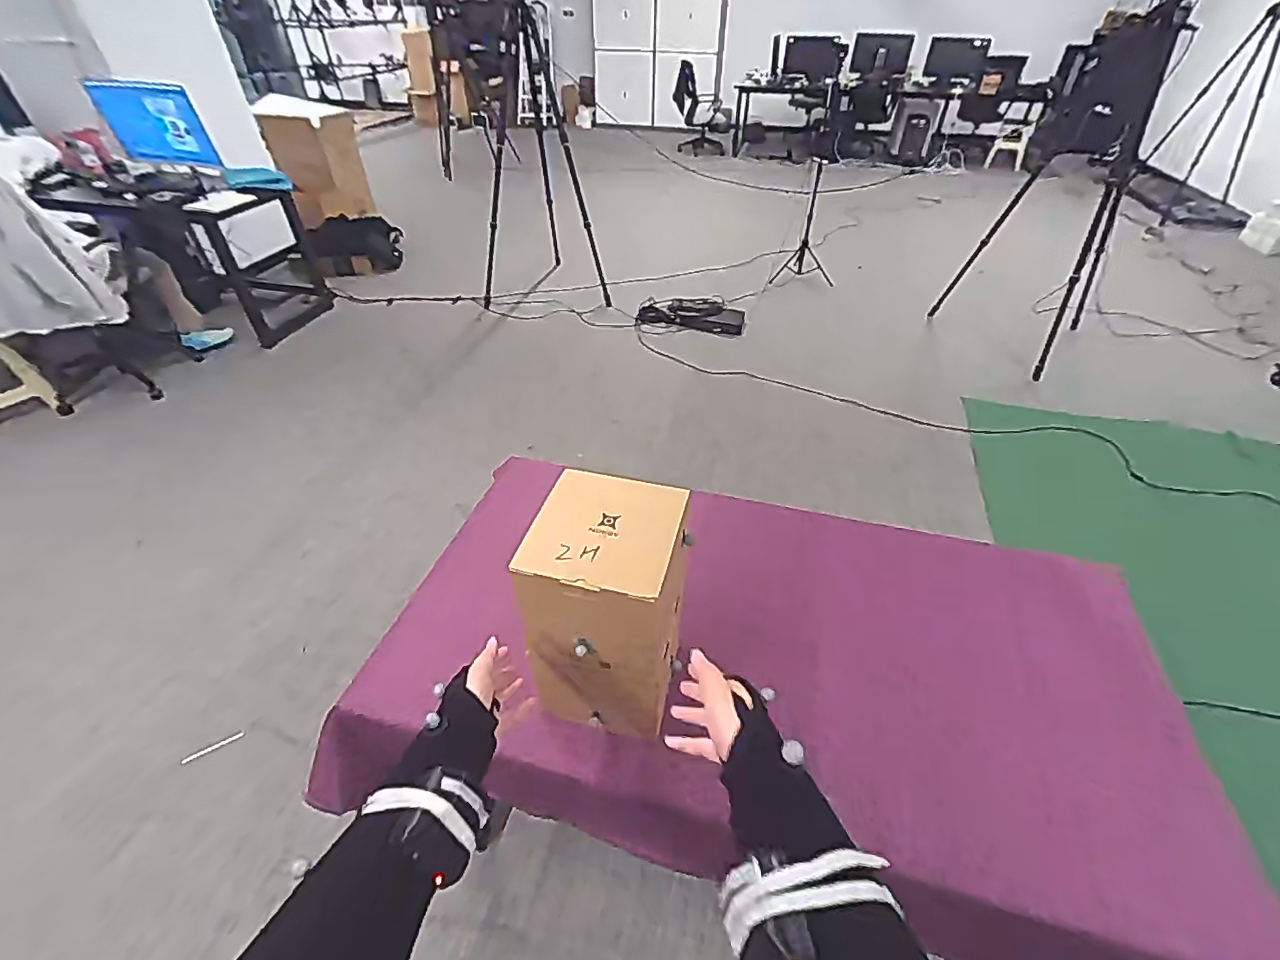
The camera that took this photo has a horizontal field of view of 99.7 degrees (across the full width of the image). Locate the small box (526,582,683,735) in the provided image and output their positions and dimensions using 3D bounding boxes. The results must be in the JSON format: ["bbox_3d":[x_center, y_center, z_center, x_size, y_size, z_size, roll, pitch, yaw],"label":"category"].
[{"bbox_3d":[-0.044,0.242,0.780,0.179,0.176,0.168,10,42,9],"label":"small box"}]

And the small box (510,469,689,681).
[{"bbox_3d":[-0.041,0.115,0.673,0.168,0.176,0.179,10,42,12],"label":"small box"}]
